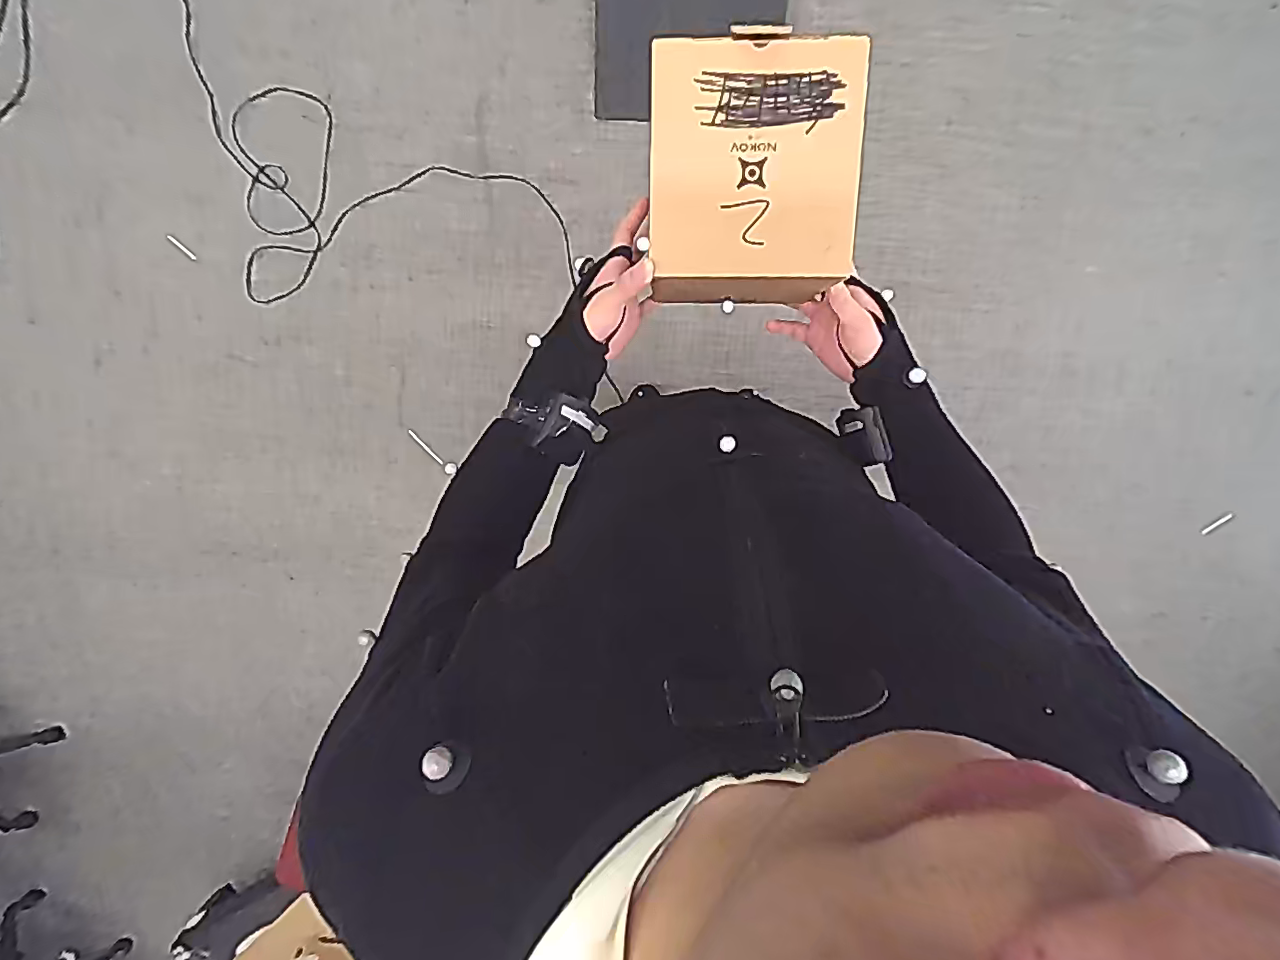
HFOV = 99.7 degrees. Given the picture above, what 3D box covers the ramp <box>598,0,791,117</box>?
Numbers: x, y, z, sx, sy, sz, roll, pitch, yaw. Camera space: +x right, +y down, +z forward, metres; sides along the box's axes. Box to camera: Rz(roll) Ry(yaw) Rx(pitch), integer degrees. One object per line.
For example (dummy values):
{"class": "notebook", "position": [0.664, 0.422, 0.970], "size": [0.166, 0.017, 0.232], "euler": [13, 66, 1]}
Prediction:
{"class": "ramp", "position": [0.146, -1.446, 1.275], "size": [0.509, 0.206, 0.991], "euler": [1, 101, 0]}
